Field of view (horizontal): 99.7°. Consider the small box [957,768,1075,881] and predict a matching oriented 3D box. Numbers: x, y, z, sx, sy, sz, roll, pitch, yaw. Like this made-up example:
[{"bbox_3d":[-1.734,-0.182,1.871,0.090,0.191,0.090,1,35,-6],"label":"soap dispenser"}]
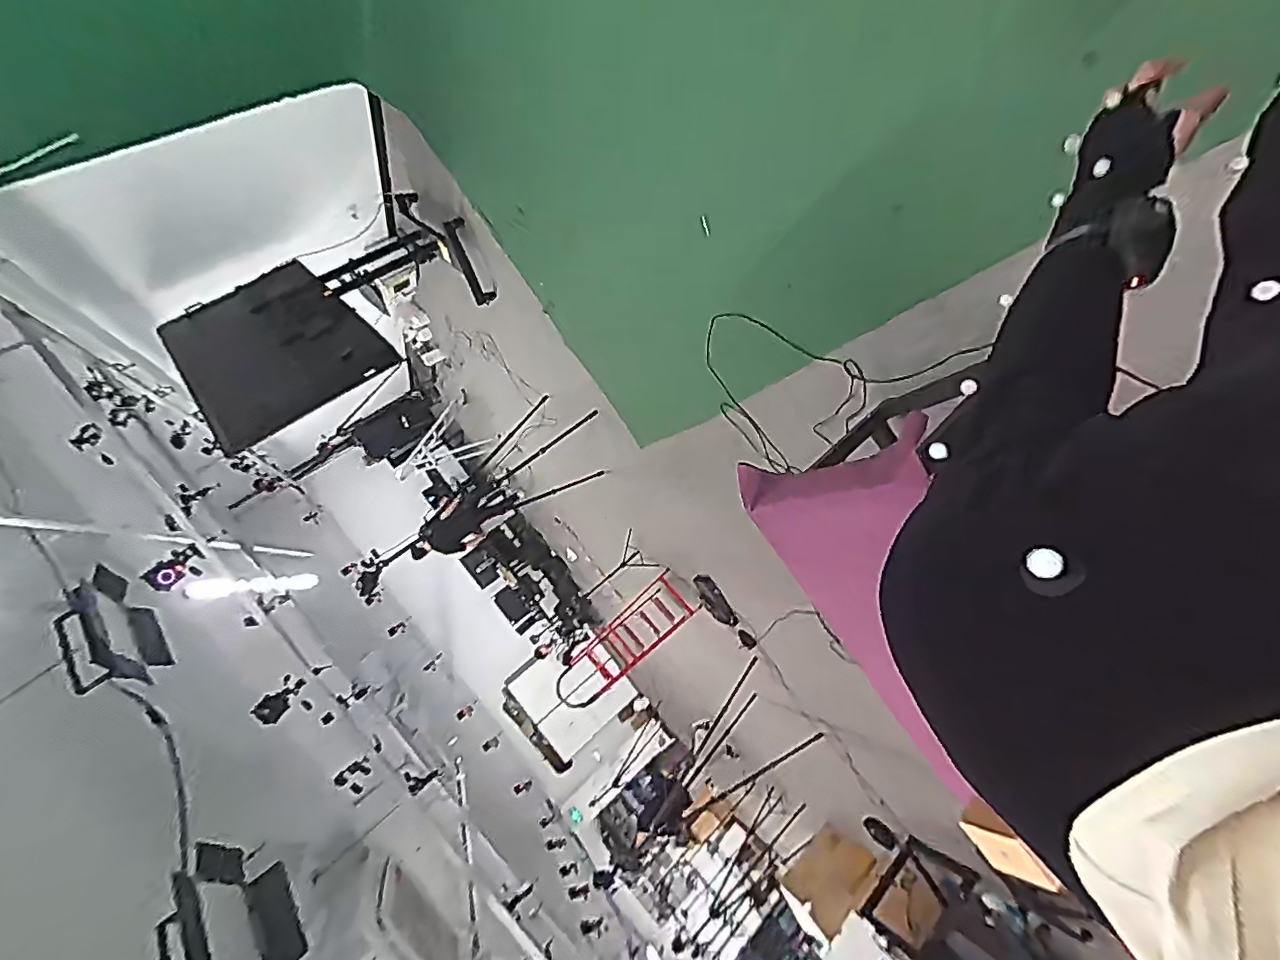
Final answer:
[{"bbox_3d":[1.030,0.930,1.482,0.168,0.176,0.179,52,159,0],"label":"small box"}]
